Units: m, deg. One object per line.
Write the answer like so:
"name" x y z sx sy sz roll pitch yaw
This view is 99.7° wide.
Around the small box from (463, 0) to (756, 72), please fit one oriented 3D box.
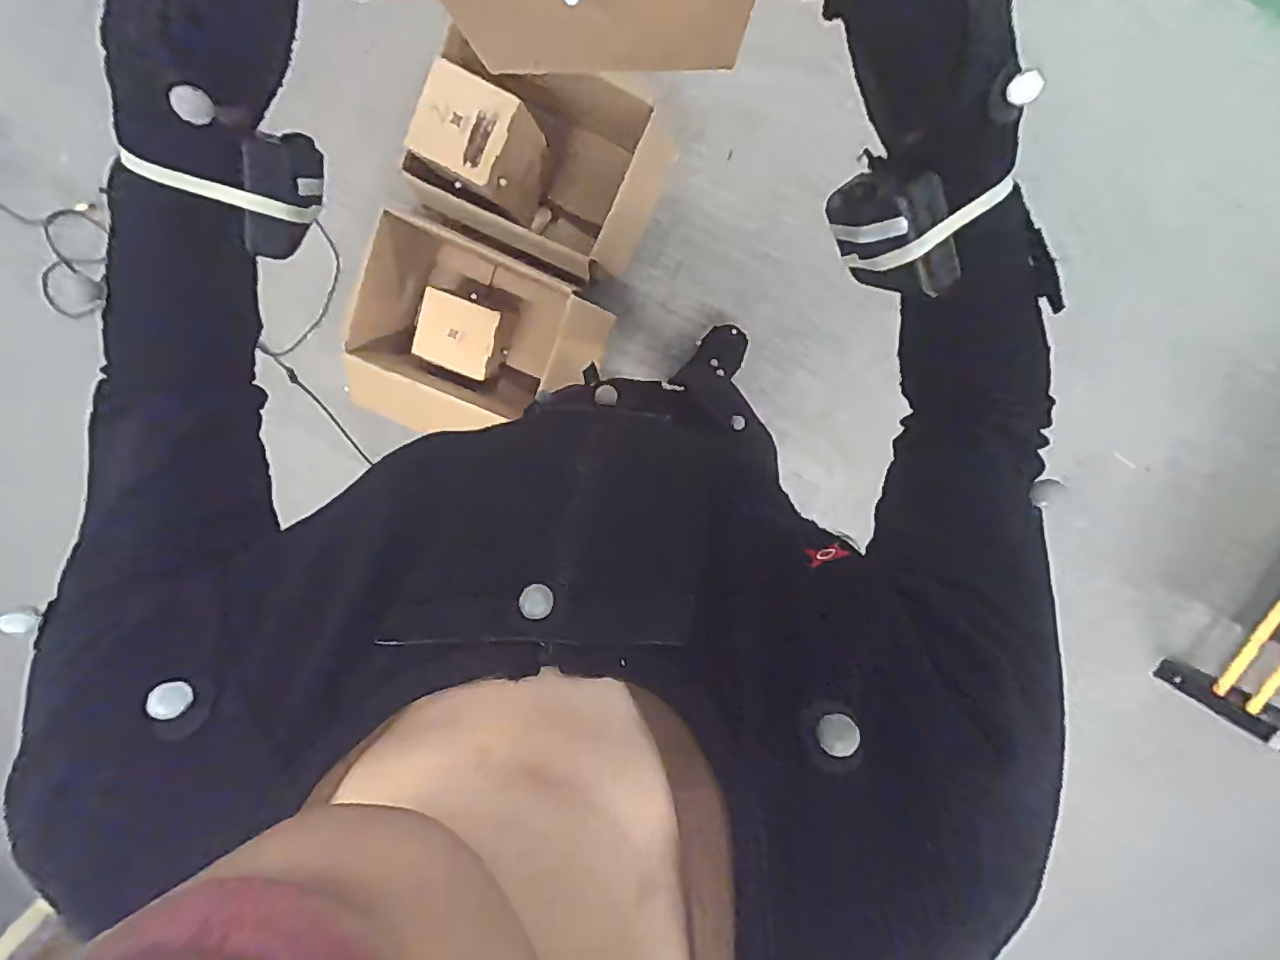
"small box" -0.018 -0.341 0.282 0.179 0.176 0.168 1 108 1
